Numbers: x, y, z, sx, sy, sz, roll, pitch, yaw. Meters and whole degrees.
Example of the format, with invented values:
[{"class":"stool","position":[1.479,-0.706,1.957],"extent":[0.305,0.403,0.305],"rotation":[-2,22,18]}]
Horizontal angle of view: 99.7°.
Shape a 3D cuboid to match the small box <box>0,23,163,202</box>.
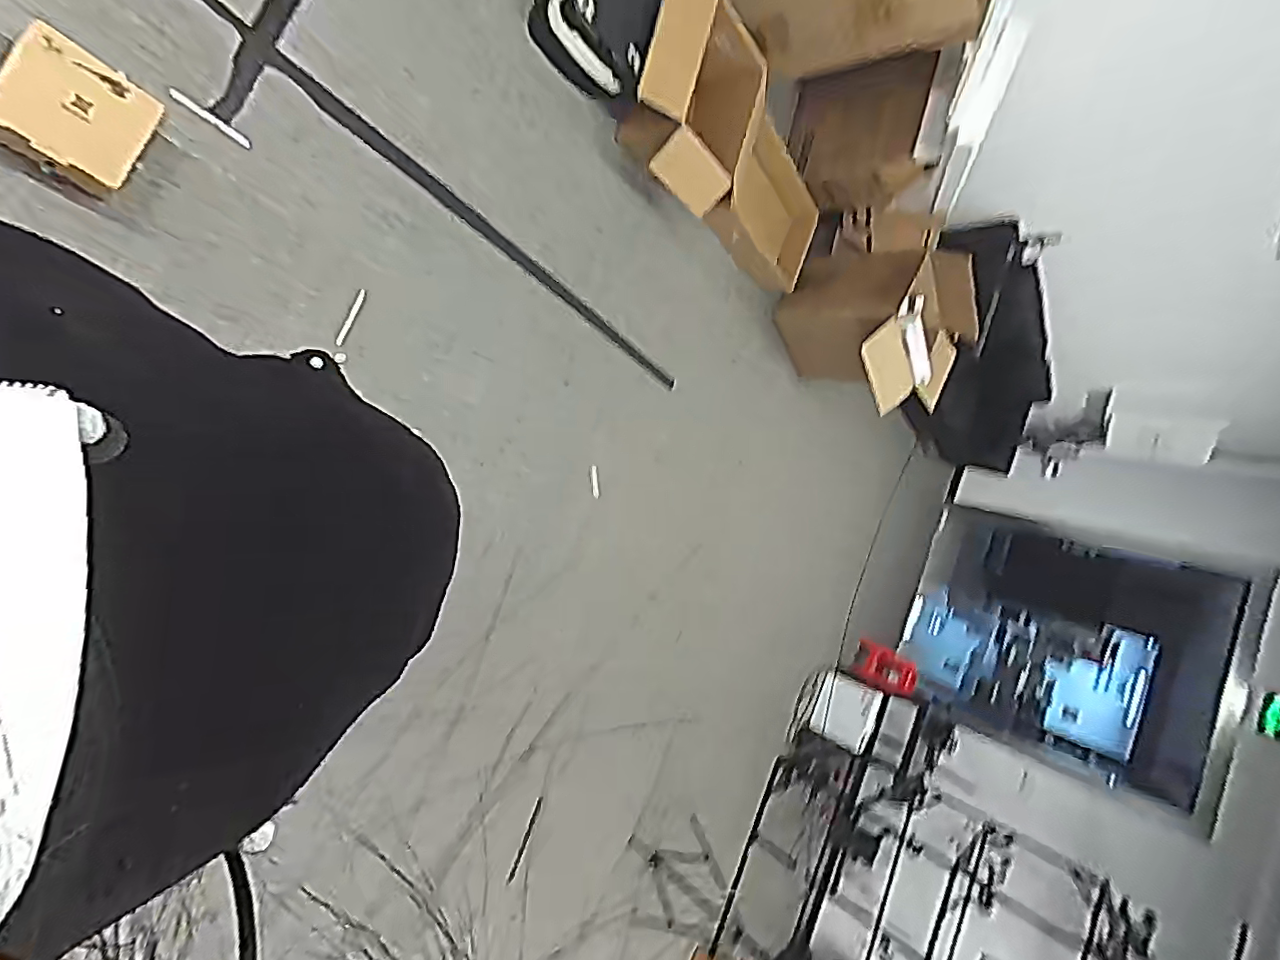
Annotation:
[{"class":"small box","position":[-0.961,-0.605,0.920],"extent":[0.168,0.176,0.179],"rotation":[32,79,-47]}]
